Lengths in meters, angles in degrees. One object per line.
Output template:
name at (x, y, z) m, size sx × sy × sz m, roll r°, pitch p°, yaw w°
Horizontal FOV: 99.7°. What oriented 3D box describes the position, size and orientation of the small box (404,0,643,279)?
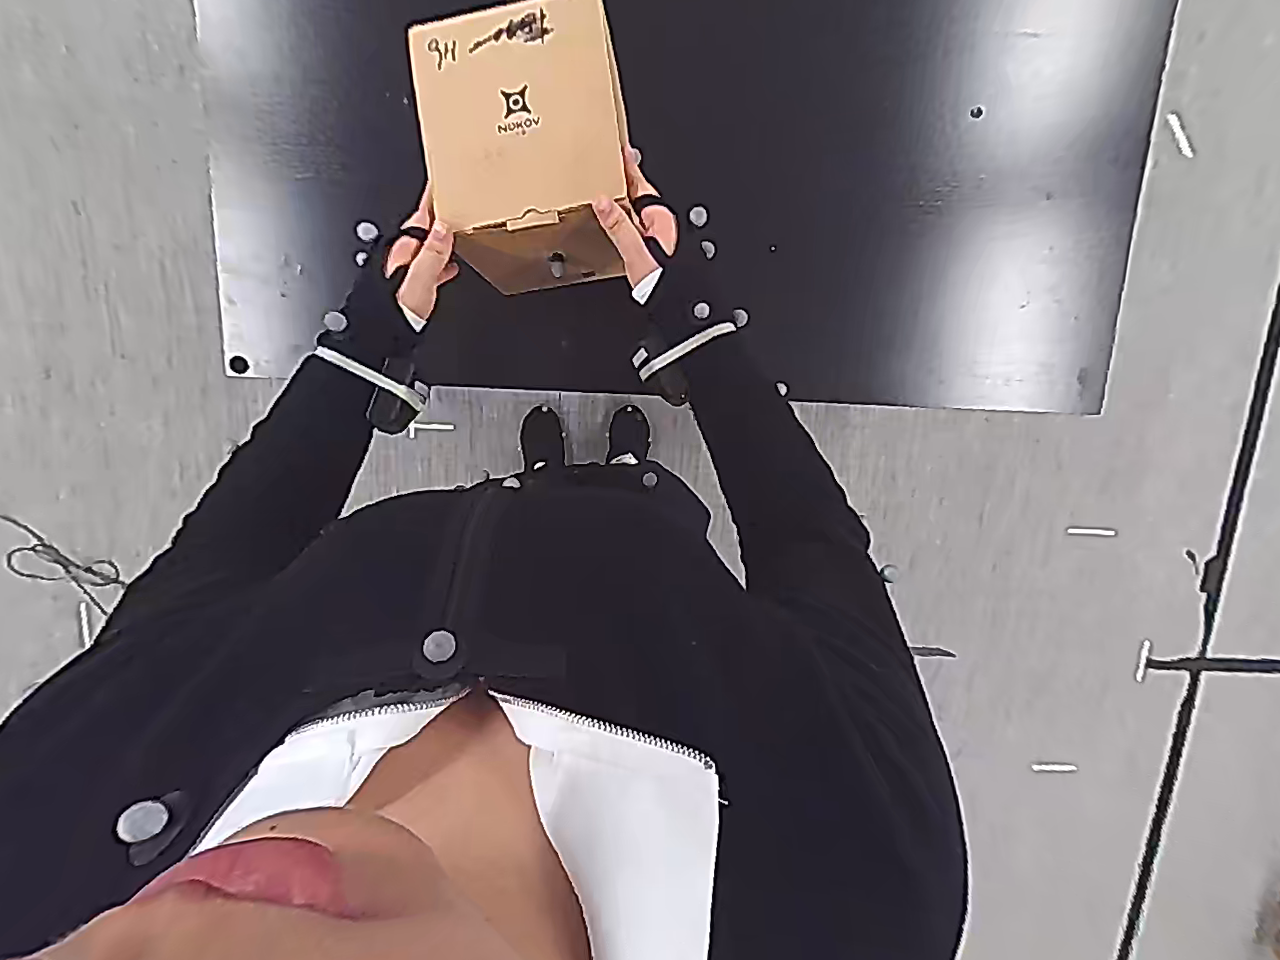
small box at (-0.094, -0.307, 0.519) m, size 0.168 × 0.176 × 0.179 m, roll -8°, pitch 93°, yaw 6°
